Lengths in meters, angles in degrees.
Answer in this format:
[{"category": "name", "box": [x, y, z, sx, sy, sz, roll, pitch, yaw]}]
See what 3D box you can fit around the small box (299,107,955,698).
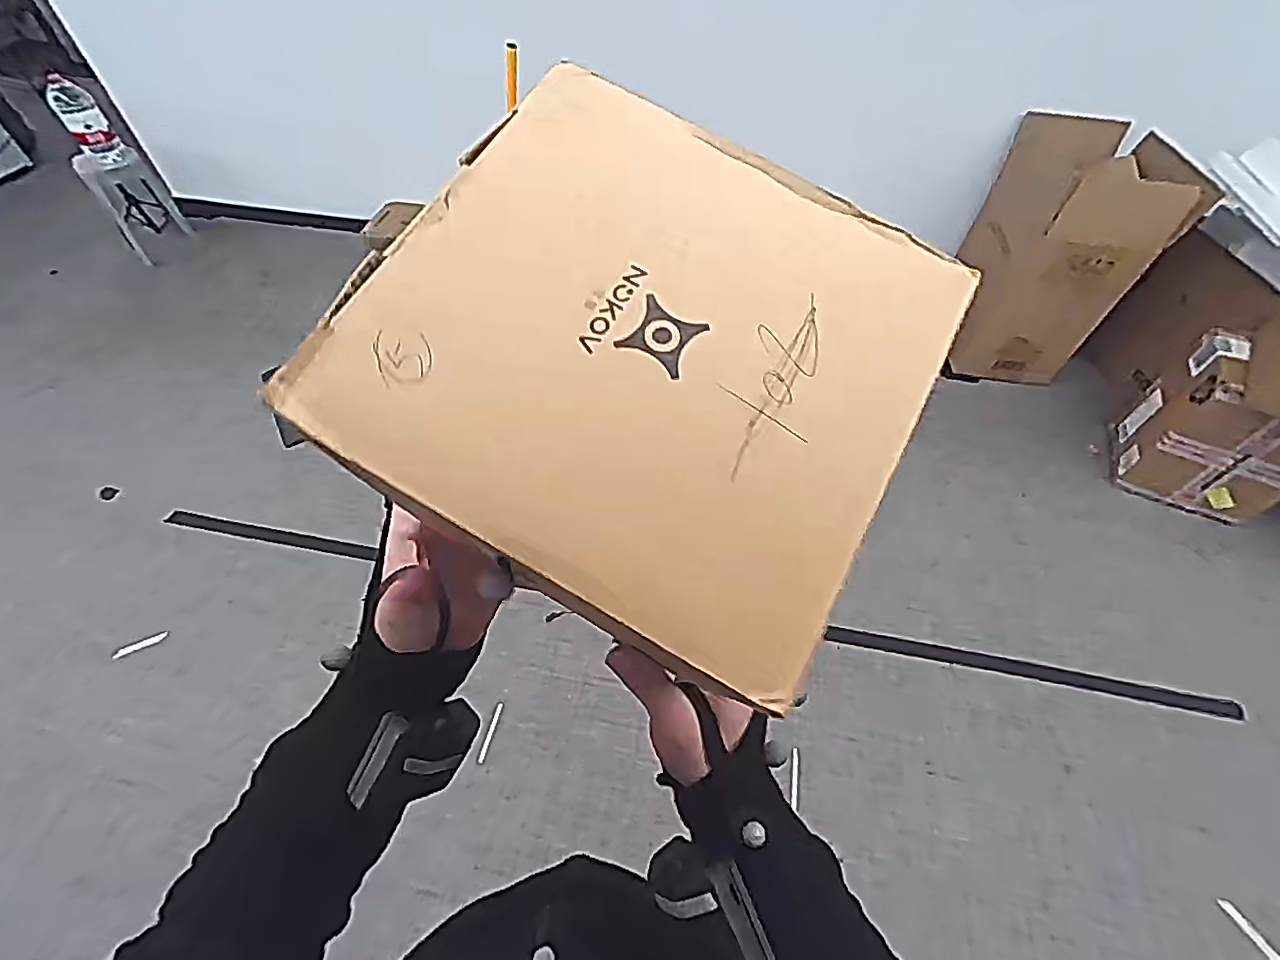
[{"category": "small box", "box": [-0.002, -0.019, 0.262, 0.179, 0.176, 0.168, 29, 74, 4]}]
